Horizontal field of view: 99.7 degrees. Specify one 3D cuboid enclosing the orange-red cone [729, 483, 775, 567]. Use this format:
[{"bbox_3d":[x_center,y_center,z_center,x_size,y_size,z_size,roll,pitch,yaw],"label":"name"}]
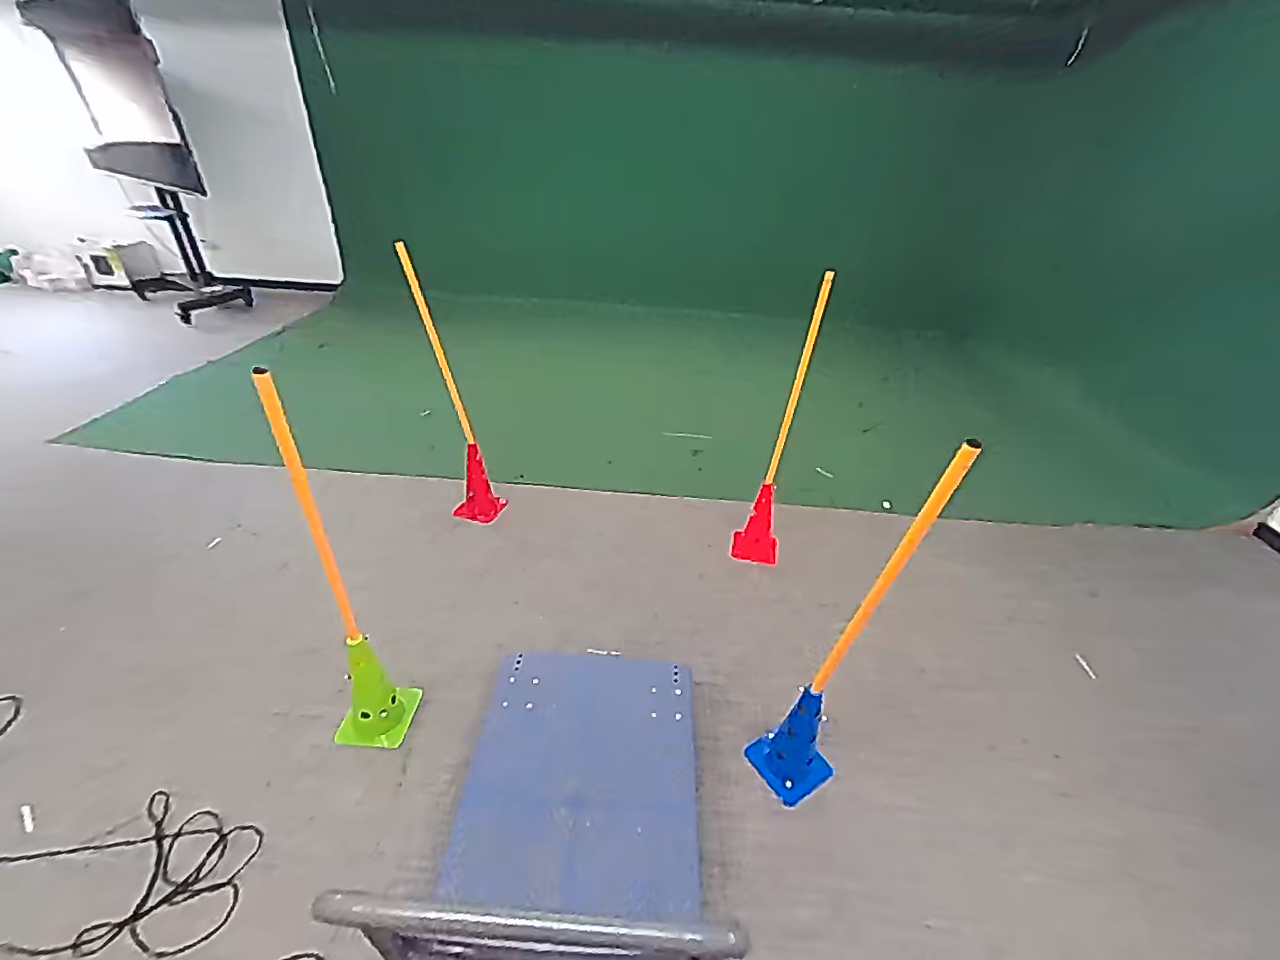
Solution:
[{"bbox_3d":[0.512,0.170,2.334,0.198,0.360,0.199,10,34,11],"label":"orange-red cone"}]
